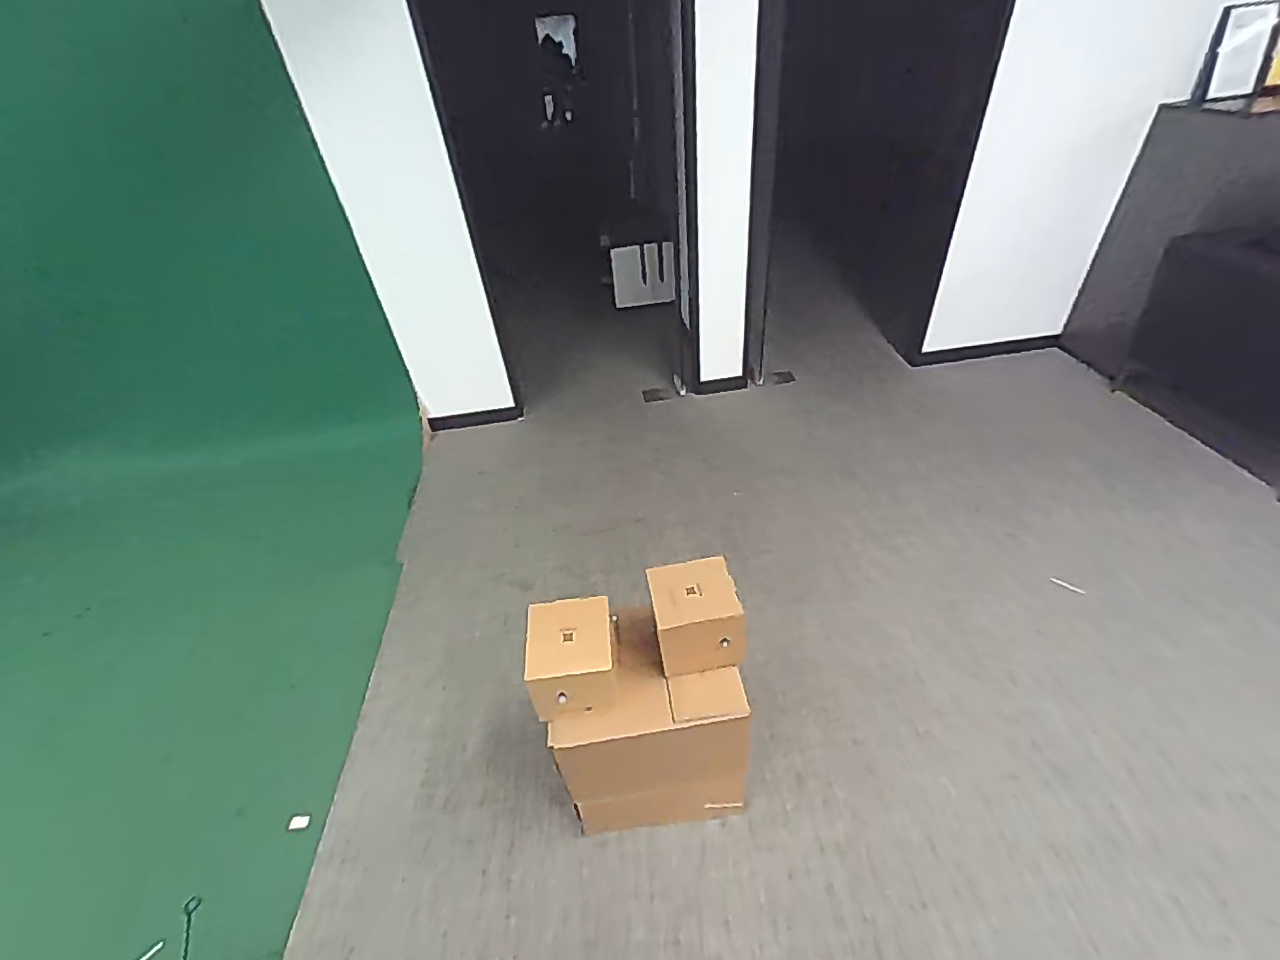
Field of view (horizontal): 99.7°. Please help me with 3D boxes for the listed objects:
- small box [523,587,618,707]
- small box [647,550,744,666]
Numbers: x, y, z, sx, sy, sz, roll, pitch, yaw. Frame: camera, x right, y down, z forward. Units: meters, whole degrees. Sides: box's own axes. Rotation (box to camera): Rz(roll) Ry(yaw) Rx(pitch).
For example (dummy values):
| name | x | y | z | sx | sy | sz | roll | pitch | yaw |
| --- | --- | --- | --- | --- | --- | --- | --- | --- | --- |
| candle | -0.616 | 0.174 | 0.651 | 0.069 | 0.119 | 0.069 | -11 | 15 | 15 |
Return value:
| name | x | y | z | sx | sy | sz | roll | pitch | yaw |
| --- | --- | --- | --- | --- | --- | --- | --- | --- | --- |
| small box | -0.137 | 0.349 | 1.116 | 0.168 | 0.176 | 0.179 | -6 | 41 | -2 |
| small box | 0.117 | 0.278 | 1.170 | 0.179 | 0.176 | 0.168 | -9 | 39 | -2 |
